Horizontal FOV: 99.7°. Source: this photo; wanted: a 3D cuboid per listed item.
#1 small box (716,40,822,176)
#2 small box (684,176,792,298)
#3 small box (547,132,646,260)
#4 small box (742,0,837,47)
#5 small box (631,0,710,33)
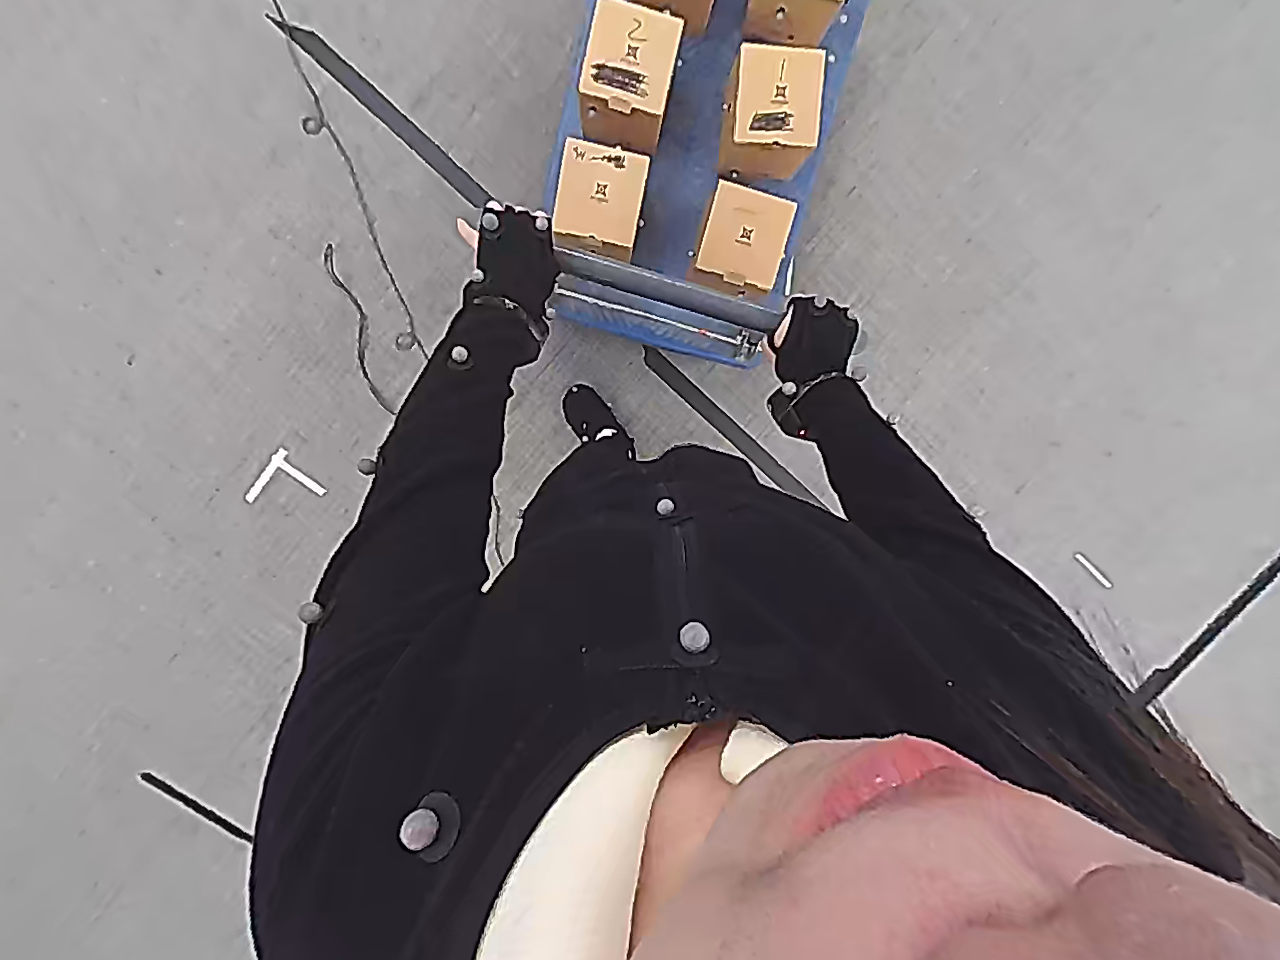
[{"bbox_3d":[0.256,-0.754,1.116,0.168,0.176,0.179,3,98,-4],"label":"small box"},{"bbox_3d":[0.199,-0.505,1.155,0.168,0.176,0.179,15,98,-6],"label":"small box"},{"bbox_3d":[-0.089,-0.577,1.125,0.168,0.176,0.179,12,99,-6],"label":"small box"},{"bbox_3d":[0.313,-1.017,1.076,0.168,0.176,0.179,12,98,-5],"label":"small box"},{"bbox_3d":[0.080,-1.041,1.055,0.168,0.176,0.179,17,99,-6],"label":"small box"}]
